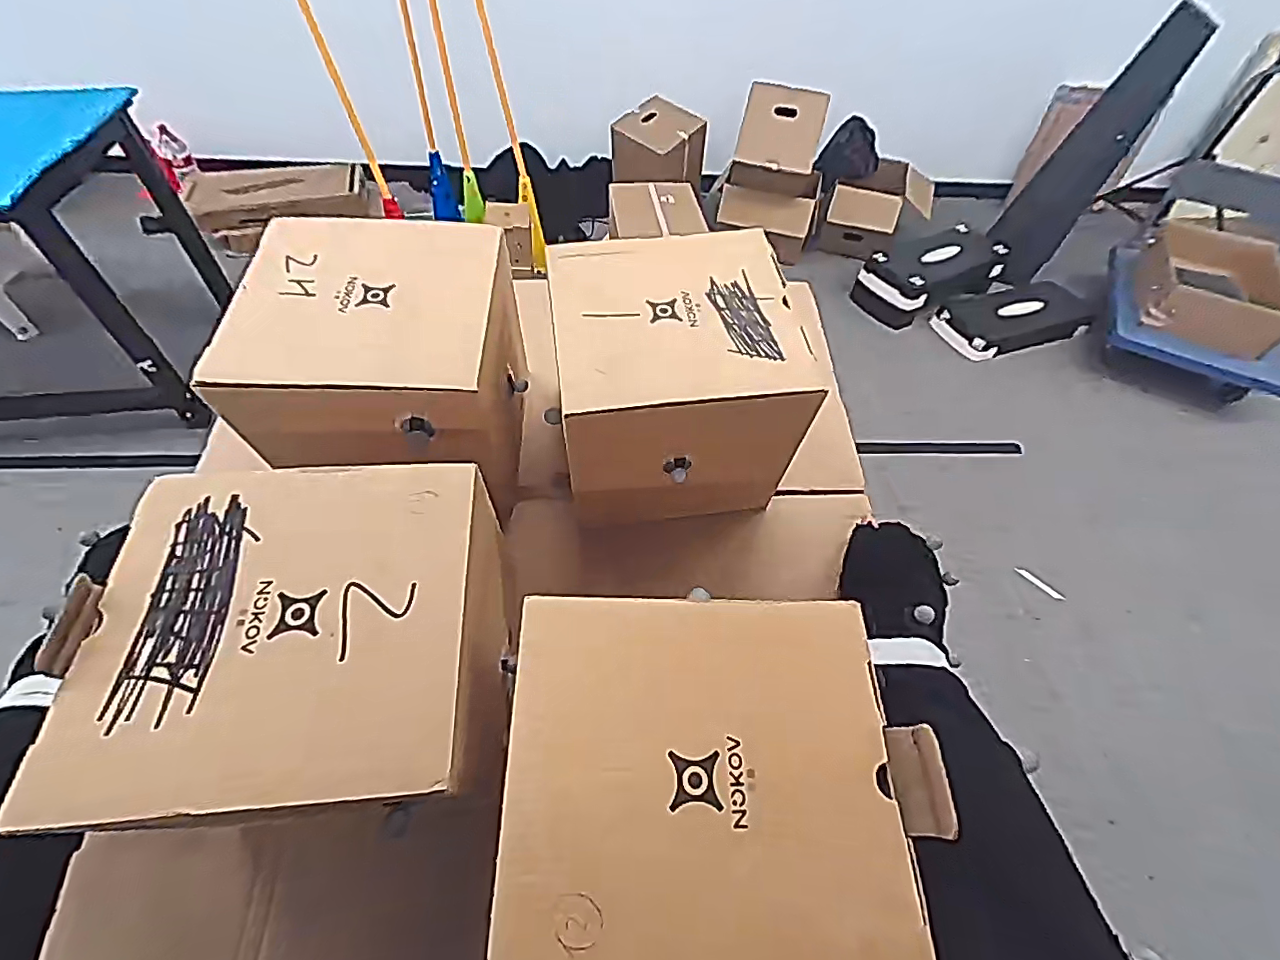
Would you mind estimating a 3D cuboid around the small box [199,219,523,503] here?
[{"bbox_3d":[-0.200,-0.090,0.457,0.179,0.176,0.168,1,59,-2],"label":"small box"}]
